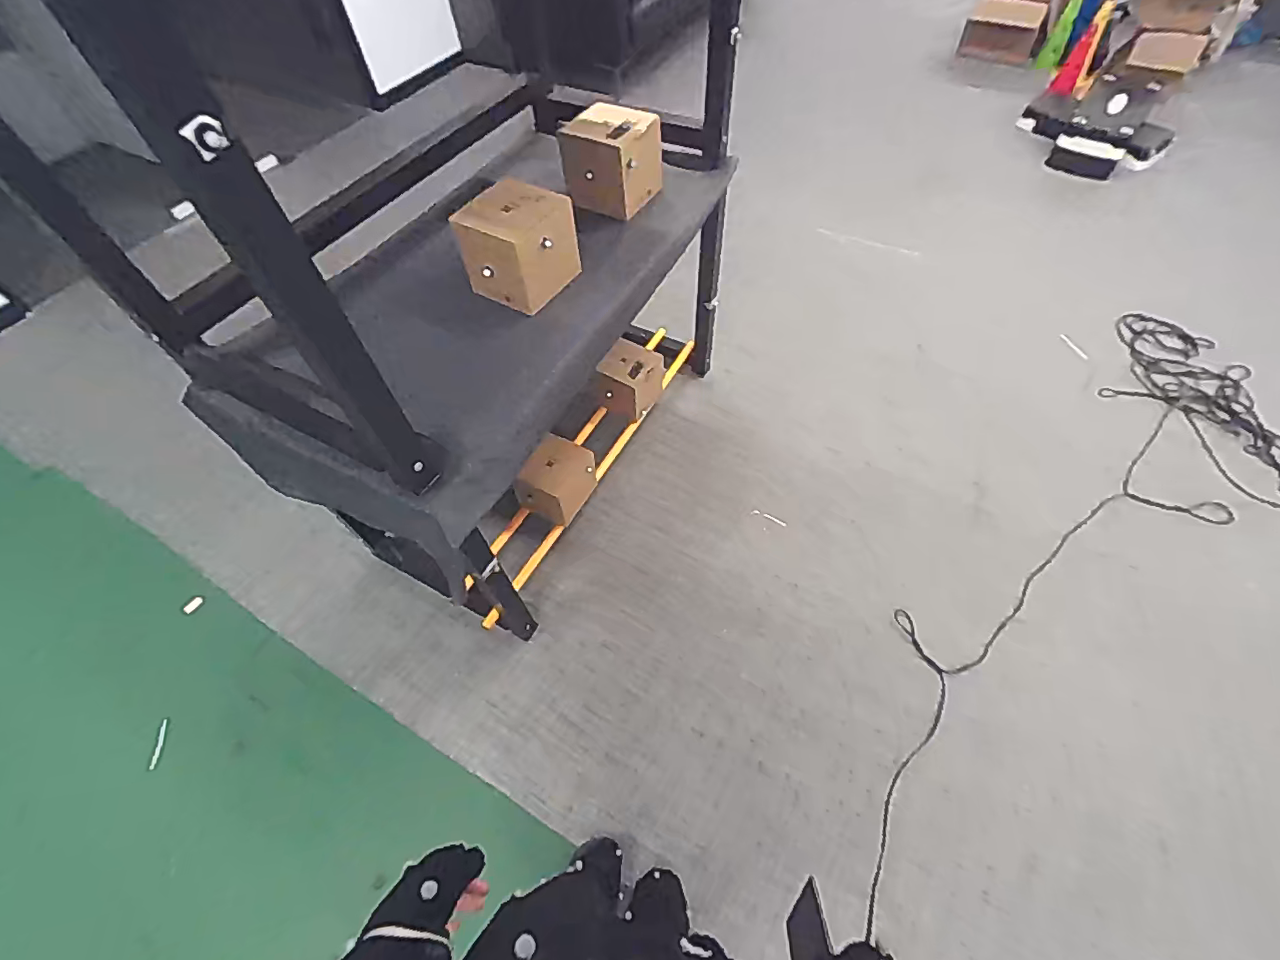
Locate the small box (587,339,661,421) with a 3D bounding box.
[{"bbox_3d":[-0.046,-0.315,1.743,0.179,0.176,0.168,27,61,19],"label":"small box"}]

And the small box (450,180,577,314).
[{"bbox_3d":[-0.245,-0.472,1.104,0.168,0.176,0.179,27,61,18],"label":"small box"}]
